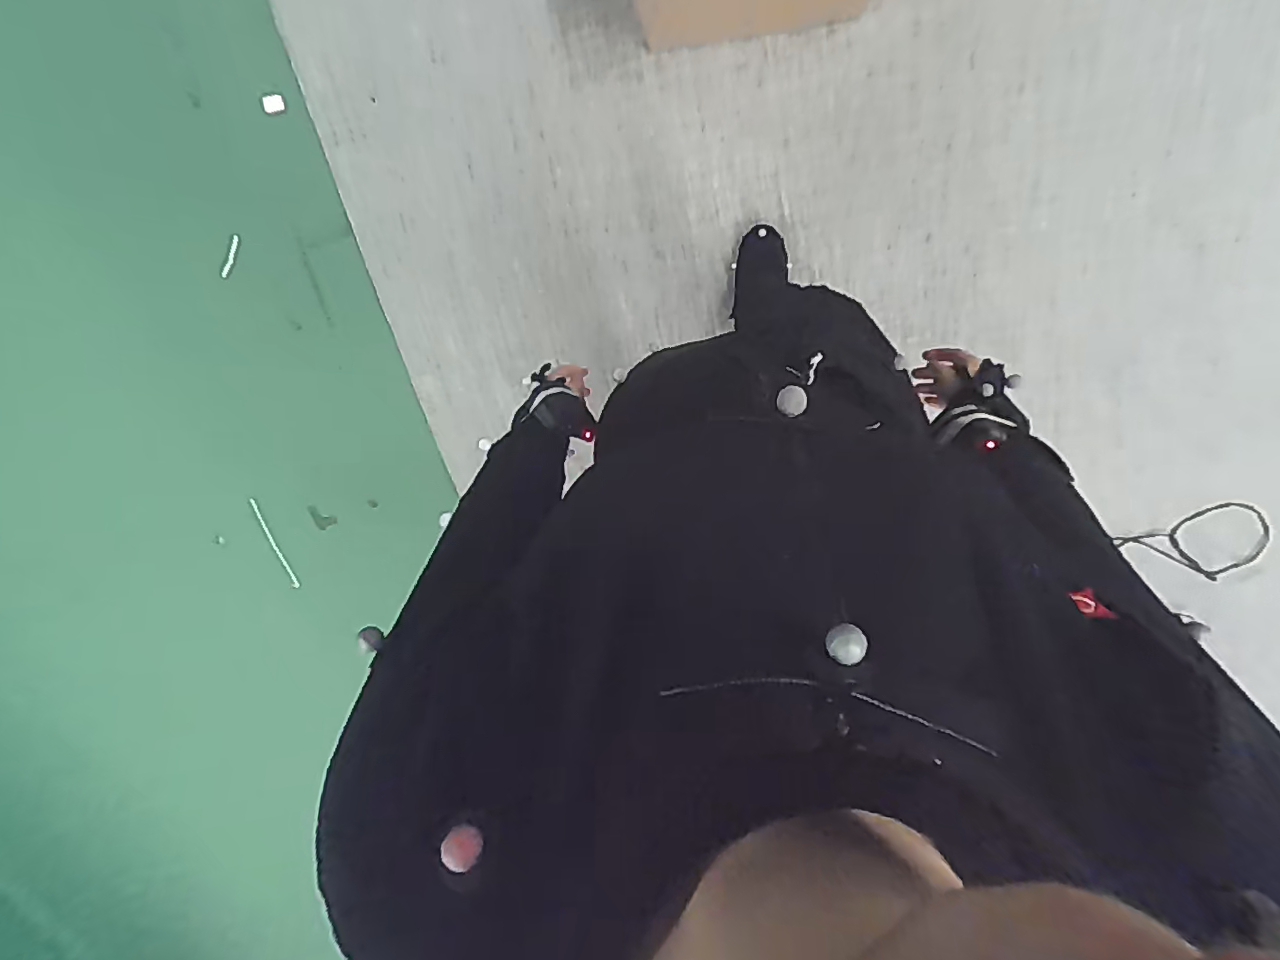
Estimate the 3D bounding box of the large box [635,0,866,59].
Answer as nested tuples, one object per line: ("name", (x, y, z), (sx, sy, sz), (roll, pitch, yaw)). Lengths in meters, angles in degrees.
("large box", (0.176, -0.928, 0.845), (0.408, 0.320, 0.320), (-5, 113, 8))
